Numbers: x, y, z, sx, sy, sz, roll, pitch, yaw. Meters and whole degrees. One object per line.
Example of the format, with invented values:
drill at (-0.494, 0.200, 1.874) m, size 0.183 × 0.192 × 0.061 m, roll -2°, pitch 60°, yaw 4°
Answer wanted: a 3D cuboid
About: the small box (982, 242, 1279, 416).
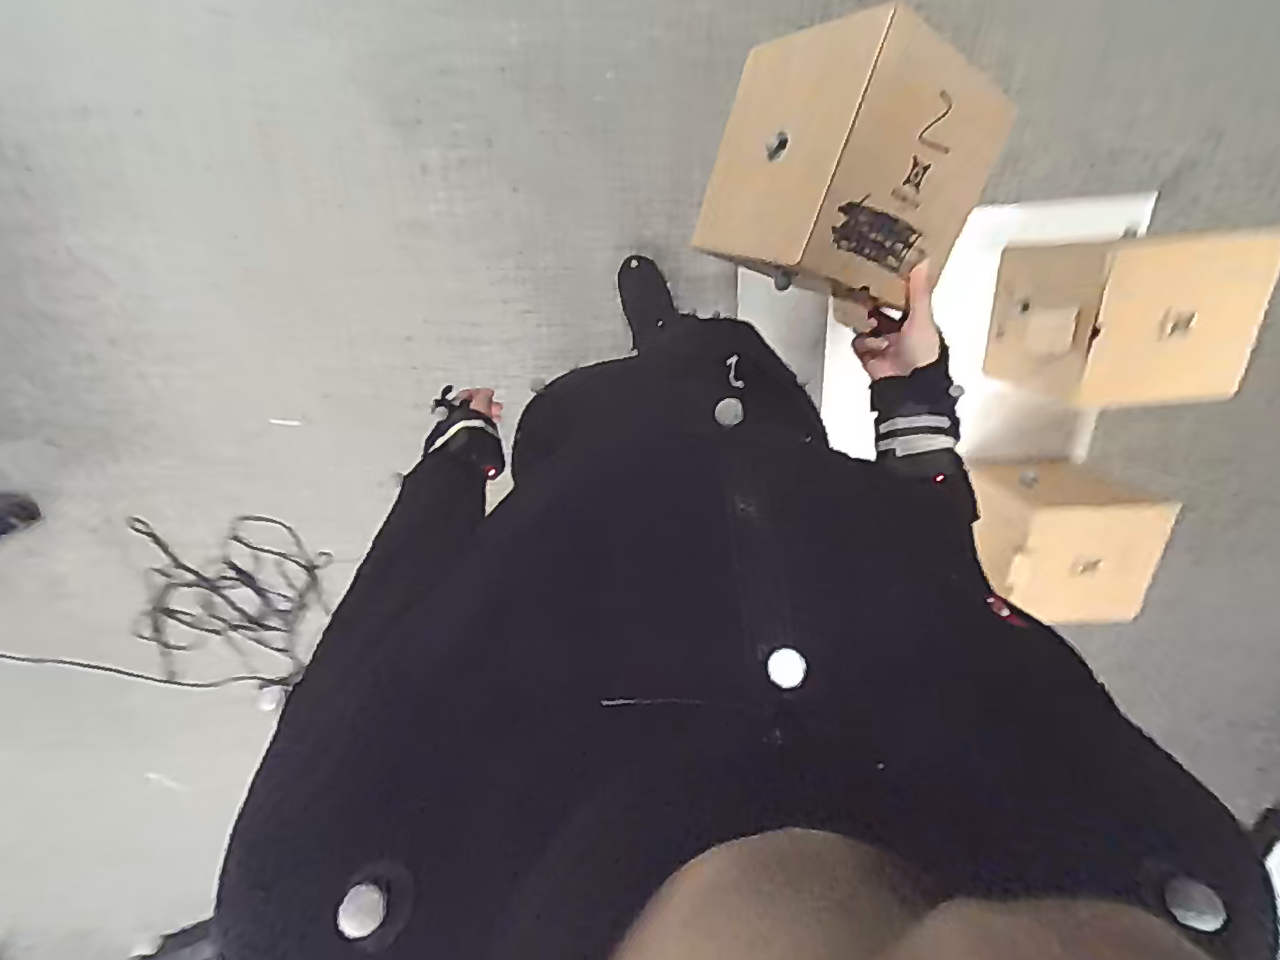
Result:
small box at (0.545, -0.182, 0.628) m, size 0.179 × 0.176 × 0.168 m, roll -4°, pitch 113°, yaw 1°
